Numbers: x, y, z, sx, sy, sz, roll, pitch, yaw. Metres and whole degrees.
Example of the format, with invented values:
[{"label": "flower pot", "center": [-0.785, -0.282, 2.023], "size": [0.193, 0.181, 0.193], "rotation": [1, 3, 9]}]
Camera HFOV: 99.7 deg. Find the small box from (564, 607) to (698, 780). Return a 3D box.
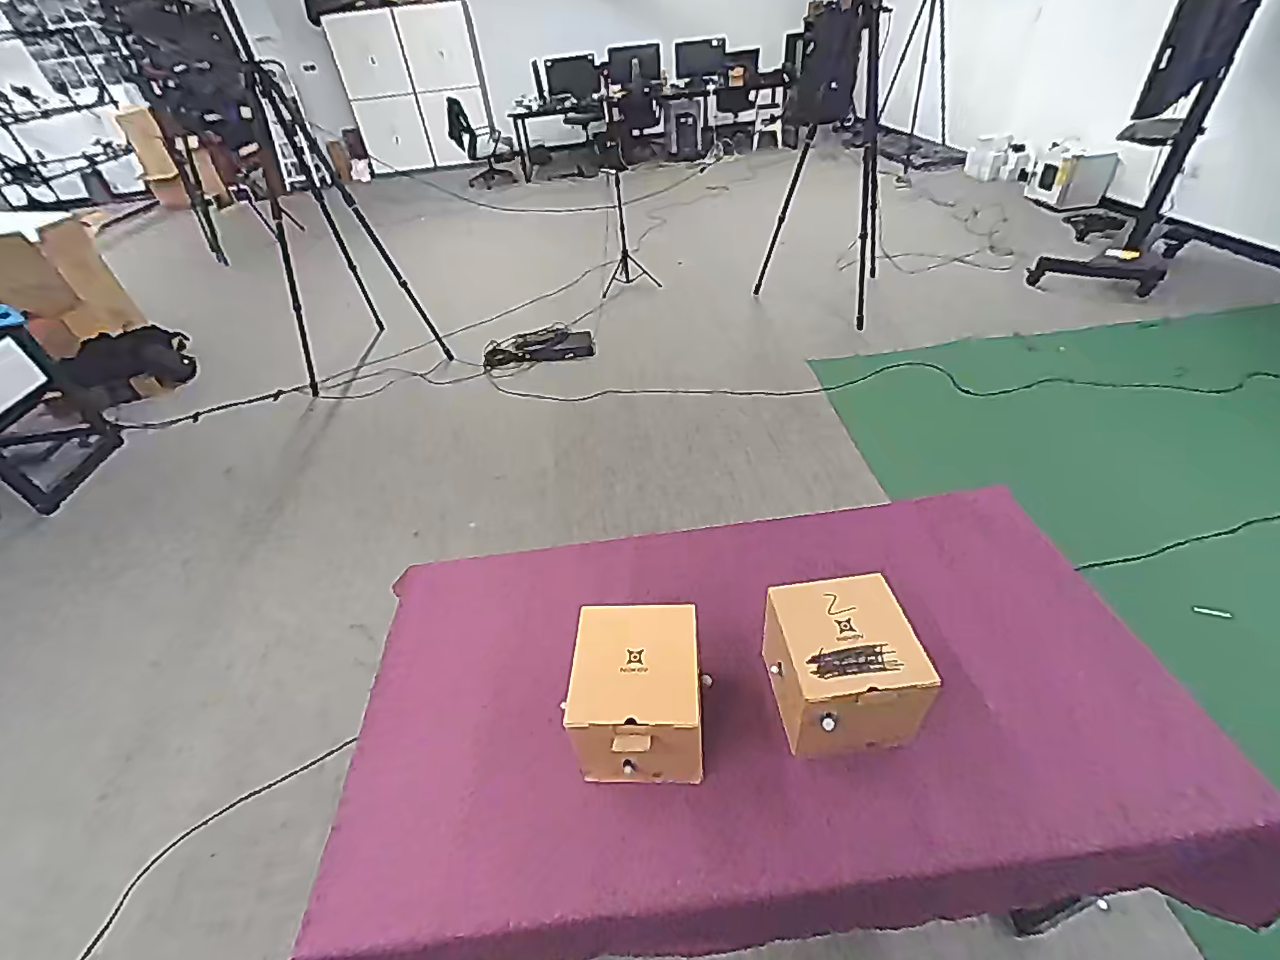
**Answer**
[{"label": "small box", "center": [-0.003, 0.303, 0.774], "size": [0.168, 0.176, 0.179], "rotation": [-2, 42, 5]}]
